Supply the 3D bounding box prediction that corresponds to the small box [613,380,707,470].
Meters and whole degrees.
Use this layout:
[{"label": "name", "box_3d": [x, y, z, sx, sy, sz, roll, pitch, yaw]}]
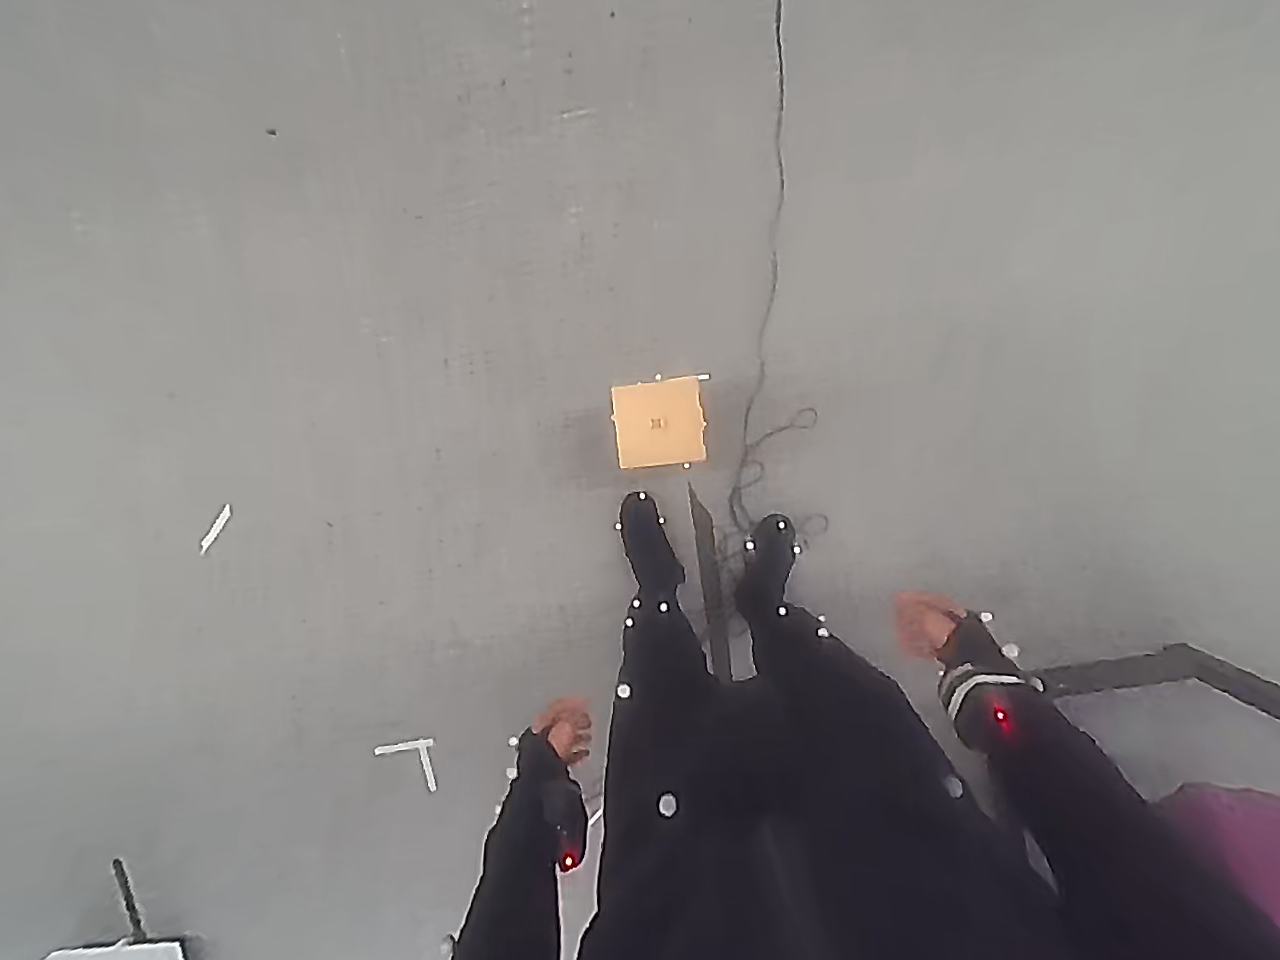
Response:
[{"label": "small box", "box_3d": [0.045, -0.116, 1.148, 0.179, 0.176, 0.168, -7, 96, 3]}]
